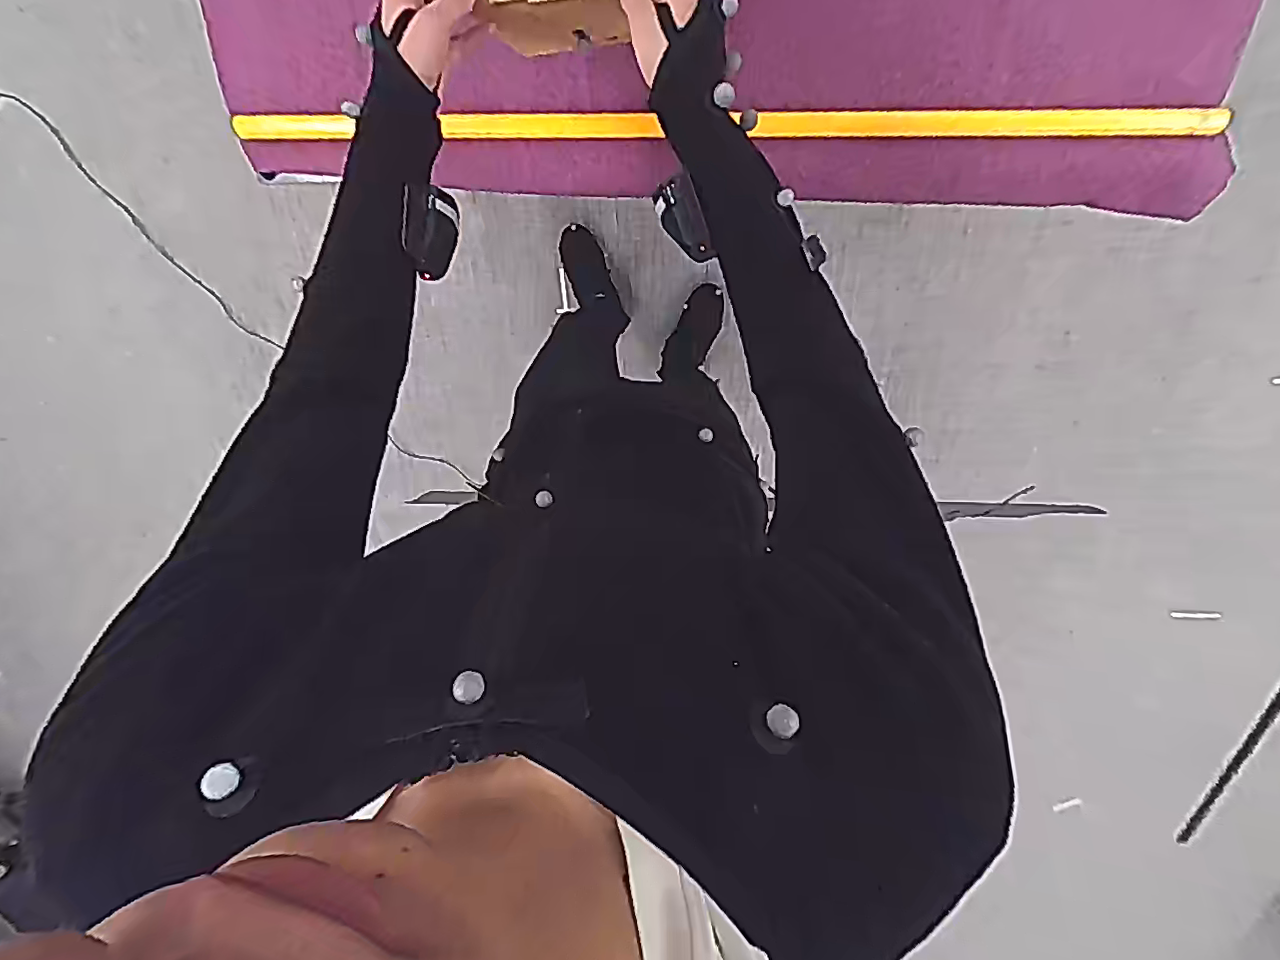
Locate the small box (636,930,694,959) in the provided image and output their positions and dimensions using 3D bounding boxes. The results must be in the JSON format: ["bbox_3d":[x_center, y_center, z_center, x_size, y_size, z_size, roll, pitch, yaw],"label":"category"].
[{"bbox_3d":[0.080,1.652,1.813,0.179,0.176,0.168,10,118,-1],"label":"small box"}]

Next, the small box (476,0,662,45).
[{"bbox_3d":[-0.074,-0.517,0.471,0.168,0.176,0.179,0,118,10],"label":"small box"}]

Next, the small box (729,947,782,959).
[{"bbox_3d":[0.391,1.716,1.817,0.168,0.176,0.179,15,118,-3],"label":"small box"}]
